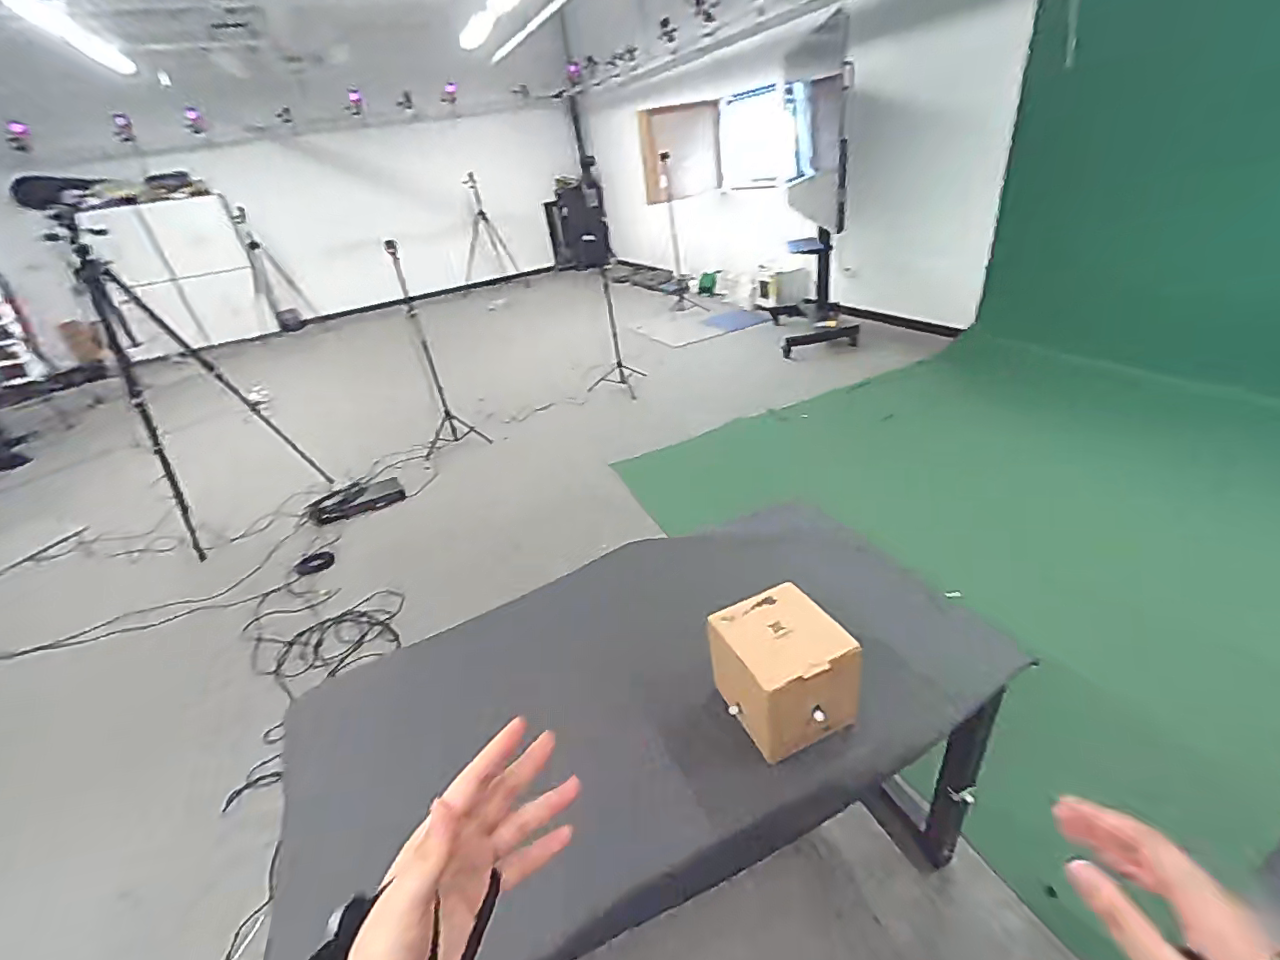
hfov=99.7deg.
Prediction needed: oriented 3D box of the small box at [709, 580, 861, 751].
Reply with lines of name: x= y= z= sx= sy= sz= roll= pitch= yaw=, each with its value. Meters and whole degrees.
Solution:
small box: x=0.230 y=0.301 z=0.871 sx=0.168 sy=0.176 sz=0.179 roll=-19 pitch=31 yaw=-15
